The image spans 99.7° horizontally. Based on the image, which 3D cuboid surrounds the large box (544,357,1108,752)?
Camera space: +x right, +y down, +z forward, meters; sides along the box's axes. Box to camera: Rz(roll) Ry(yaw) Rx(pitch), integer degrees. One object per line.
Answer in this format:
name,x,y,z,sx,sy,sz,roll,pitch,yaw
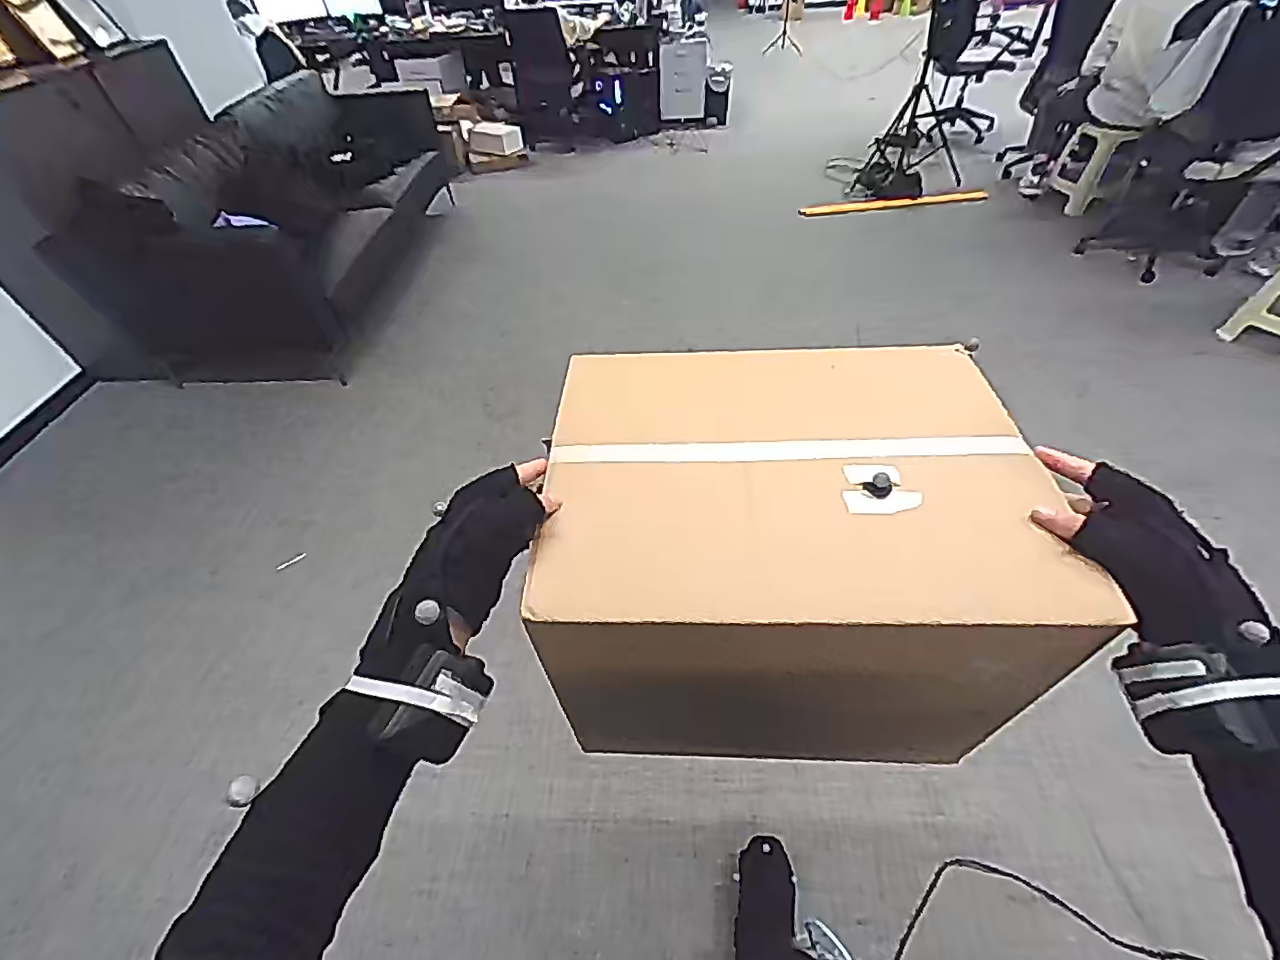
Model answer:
large box,0.134,0.086,0.588,0.408,0.320,0.320,0,48,3
